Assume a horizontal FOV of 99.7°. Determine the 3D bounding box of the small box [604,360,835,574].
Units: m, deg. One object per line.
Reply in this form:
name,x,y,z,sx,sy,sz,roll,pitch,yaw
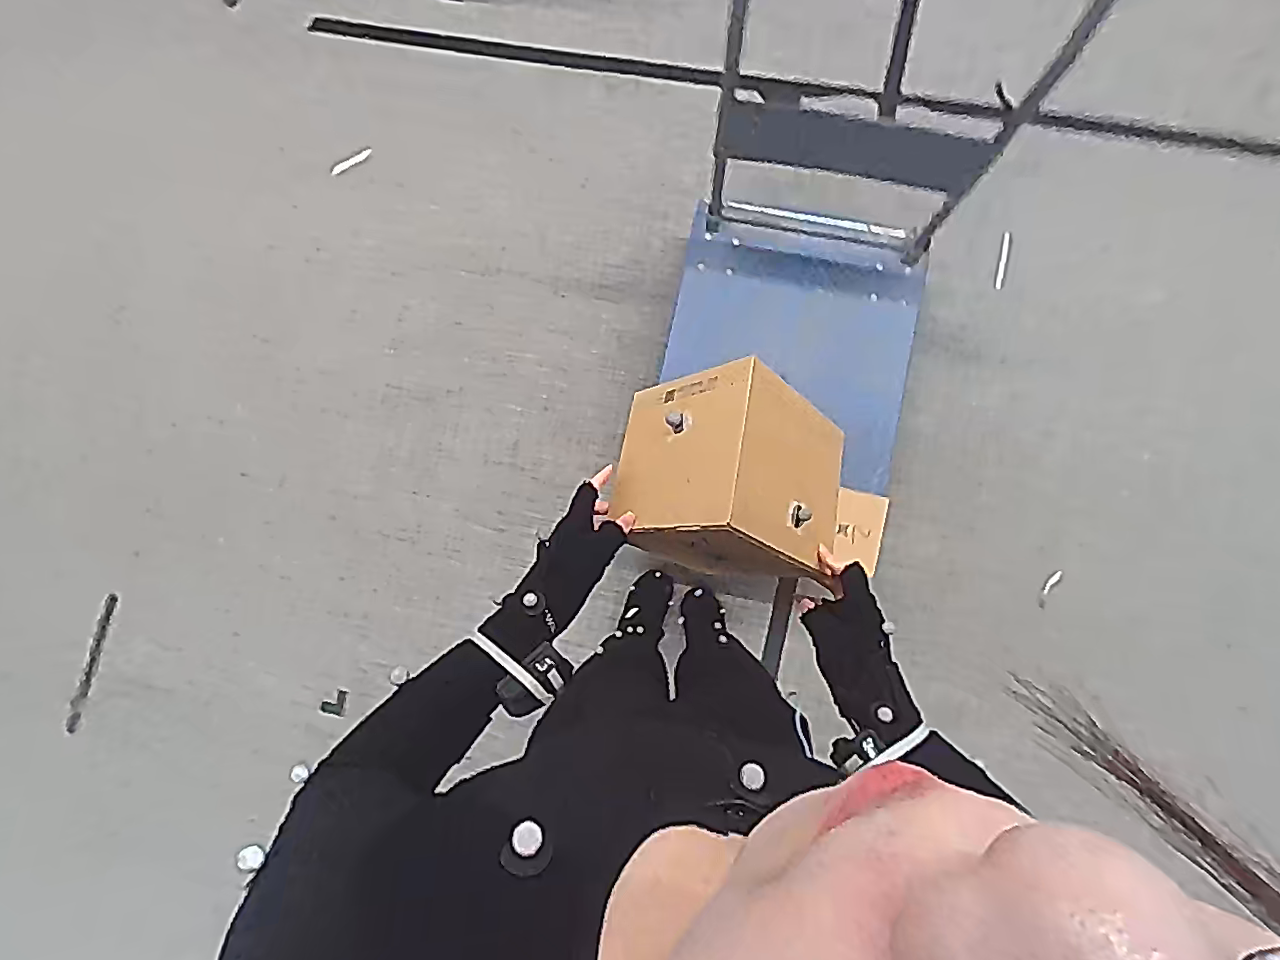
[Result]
small box,0.092,-0.003,0.577,0.179,0.168,0.176,26,67,-38
